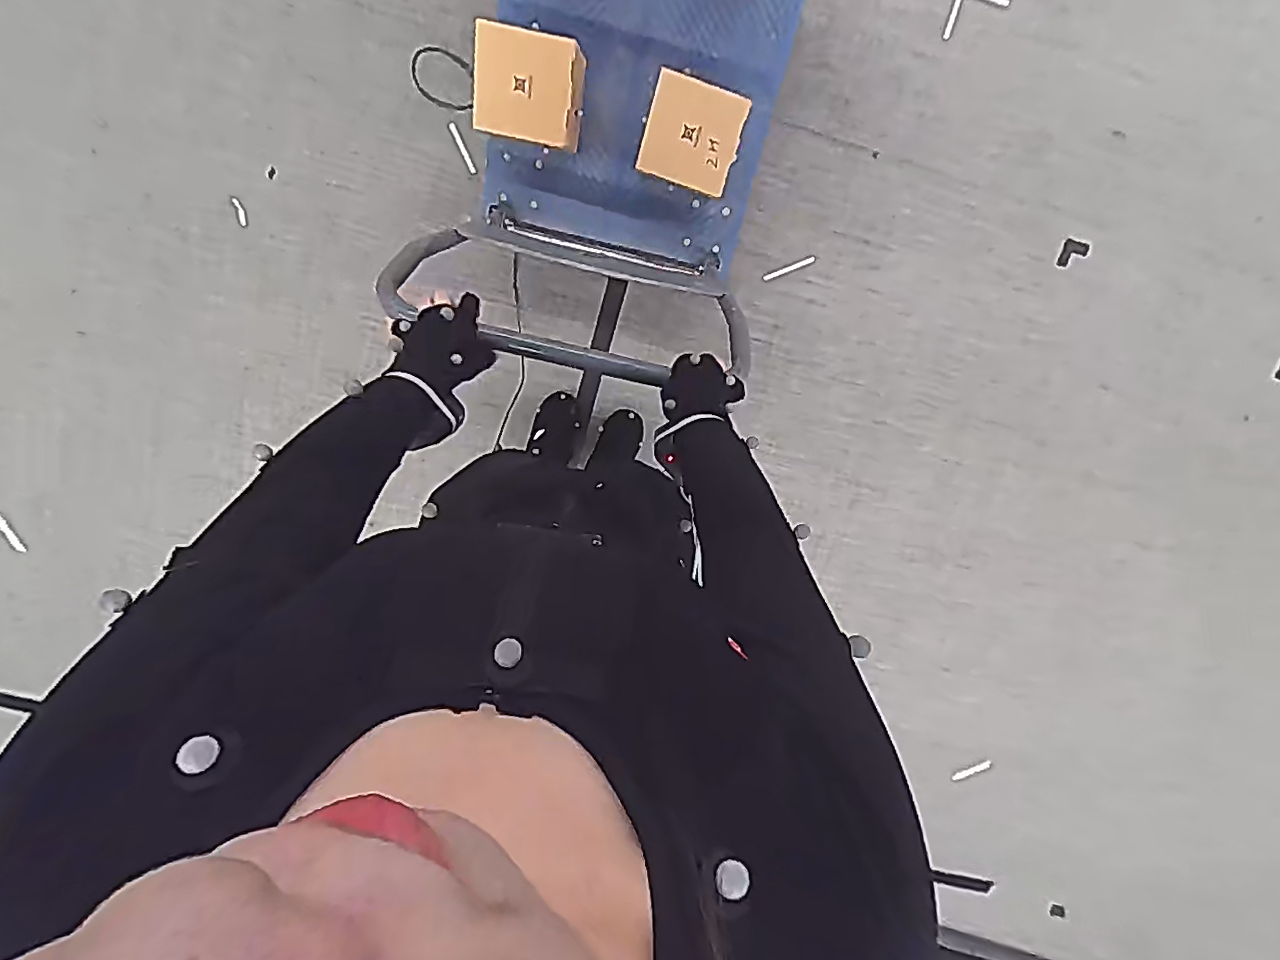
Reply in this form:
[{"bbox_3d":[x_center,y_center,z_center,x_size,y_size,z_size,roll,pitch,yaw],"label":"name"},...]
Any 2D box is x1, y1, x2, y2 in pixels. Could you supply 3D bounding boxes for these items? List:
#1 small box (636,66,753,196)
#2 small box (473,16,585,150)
[{"bbox_3d":[0.099,-0.674,1.066,0.179,0.176,0.168,16,117,-7],"label":"small box"},{"bbox_3d":[-0.208,-0.746,1.037,0.179,0.176,0.168,8,117,-5],"label":"small box"}]
